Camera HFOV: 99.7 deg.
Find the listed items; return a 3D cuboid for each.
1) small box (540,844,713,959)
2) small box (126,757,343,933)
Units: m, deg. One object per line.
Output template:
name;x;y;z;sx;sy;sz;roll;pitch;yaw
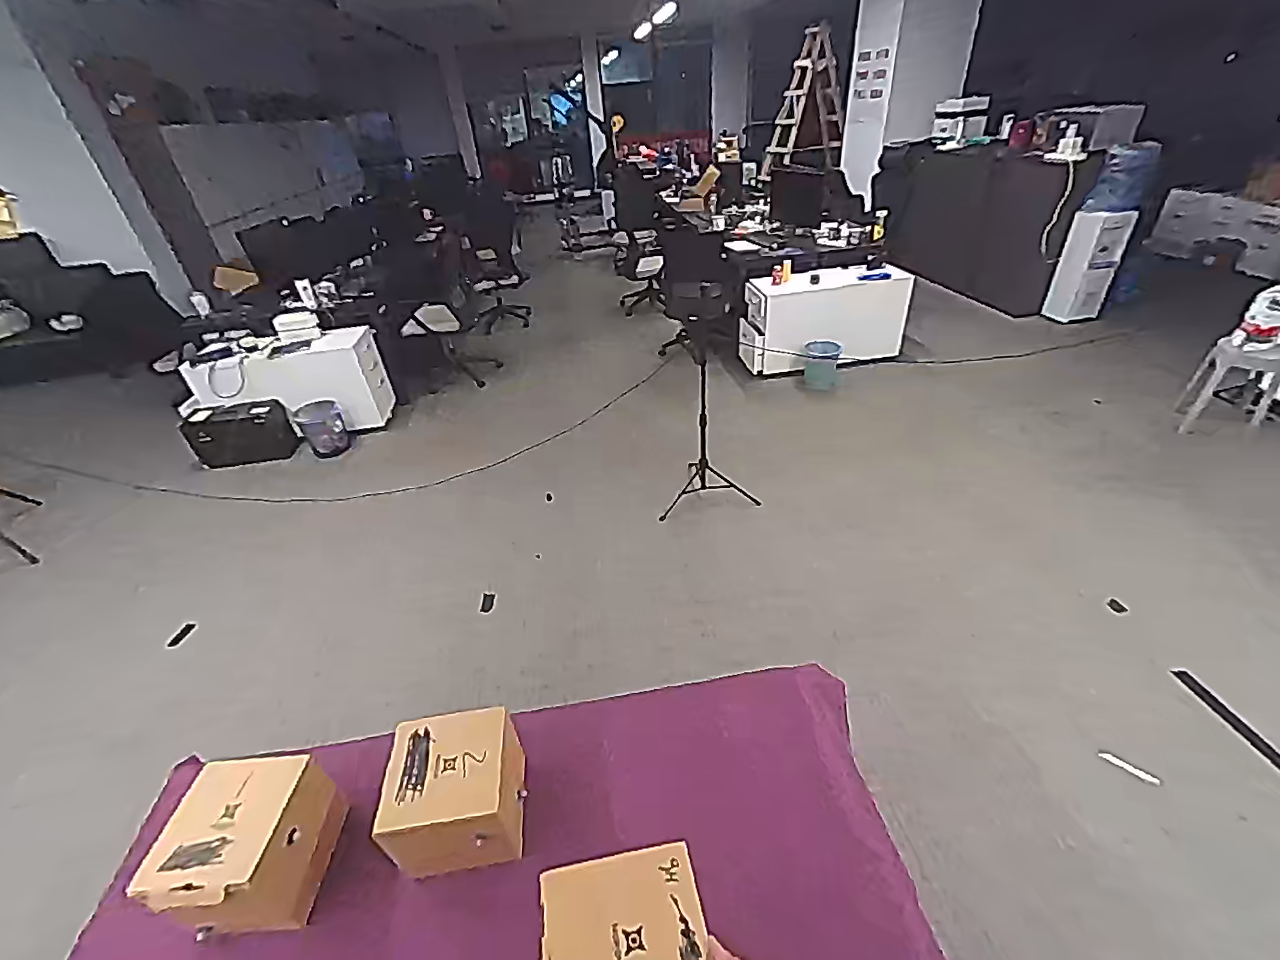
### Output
small box;-0.012;0.551;0.604;0.179;0.176;0.168;-7;34;-8
small box;-0.582;0.549;0.811;0.168;0.176;0.179;-4;35;1
